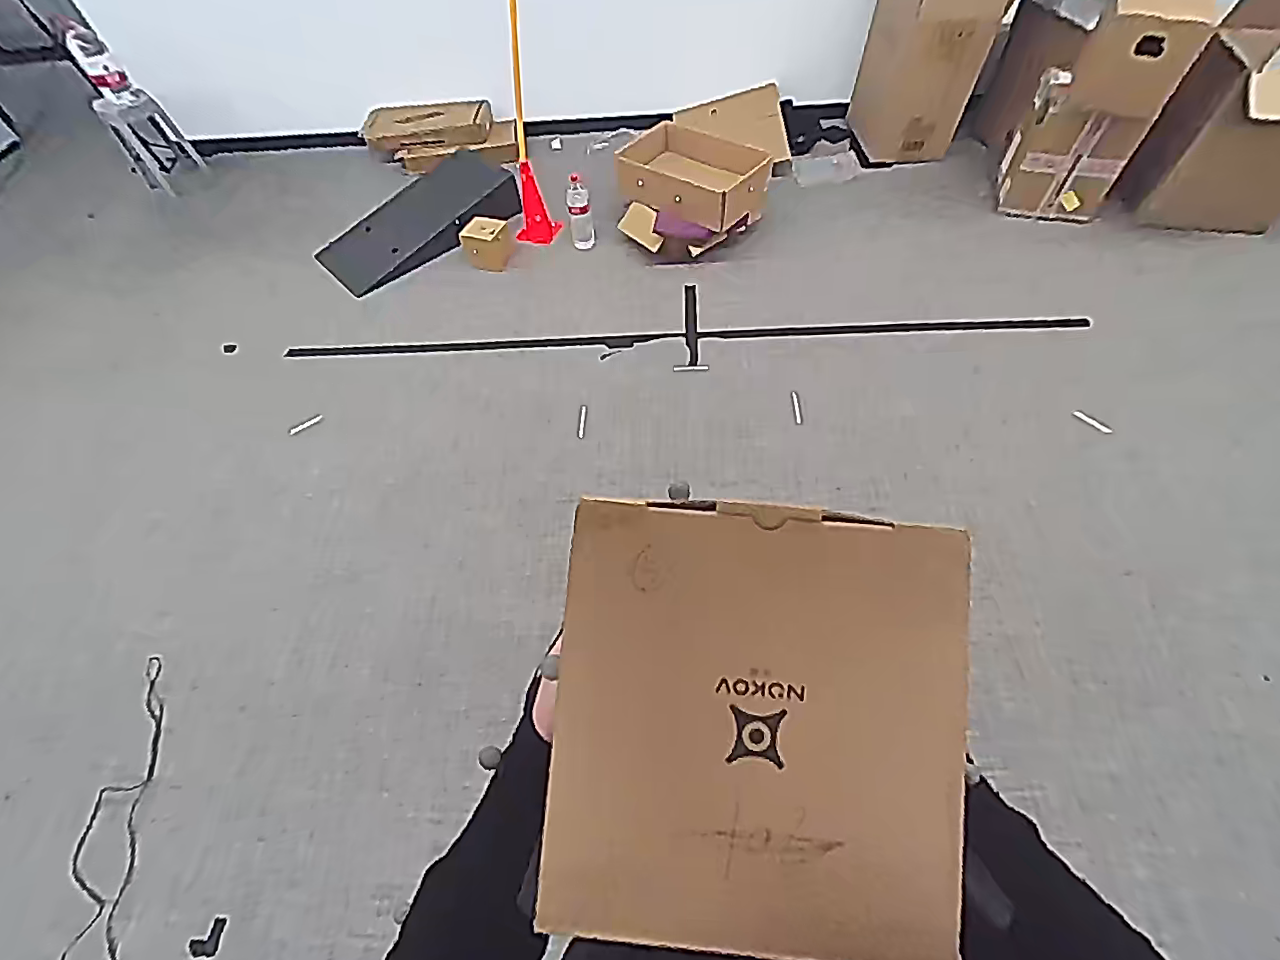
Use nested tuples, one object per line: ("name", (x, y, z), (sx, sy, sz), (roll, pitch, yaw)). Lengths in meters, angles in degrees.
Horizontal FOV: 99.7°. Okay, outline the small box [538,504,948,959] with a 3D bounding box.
("small box", (0.048, 0.111, 0.311), (0.168, 0.176, 0.179), (5, 85, 3))
